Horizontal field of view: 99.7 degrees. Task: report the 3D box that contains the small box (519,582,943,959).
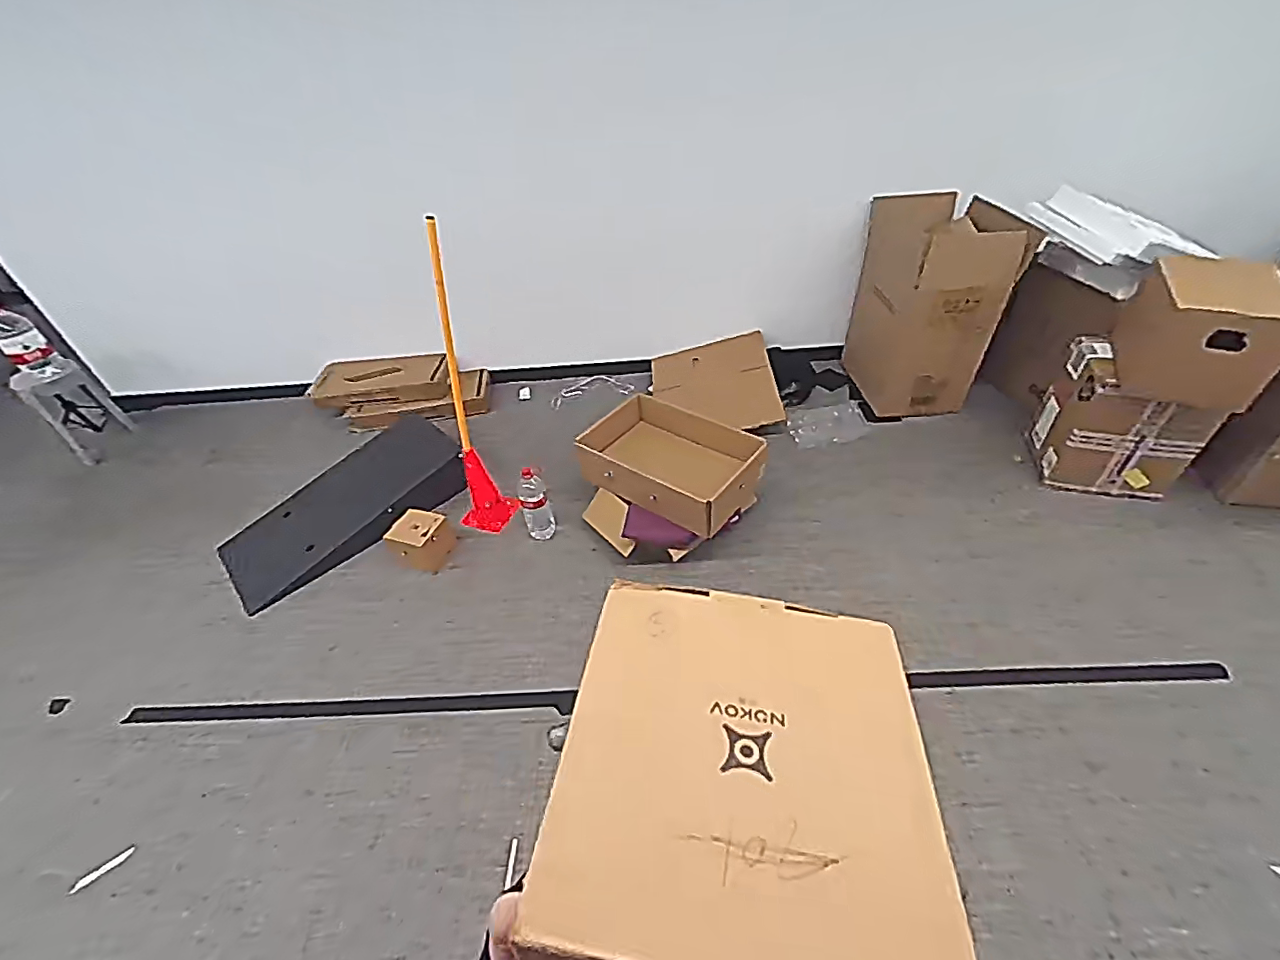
[{"bbox_3d":[0.041,0.191,0.312,0.168,0.176,0.179,9,38,6],"label":"small box"}]
